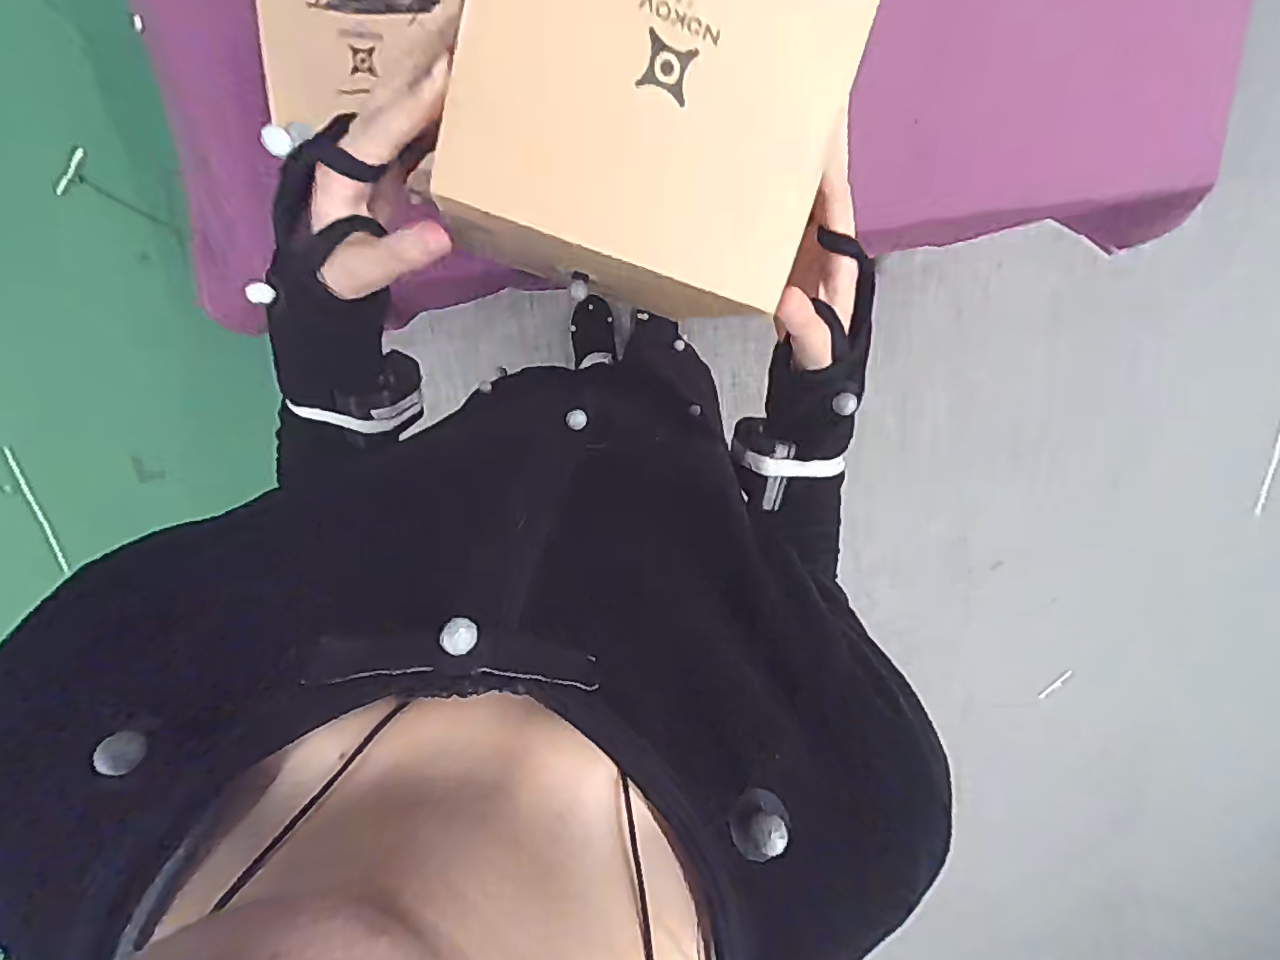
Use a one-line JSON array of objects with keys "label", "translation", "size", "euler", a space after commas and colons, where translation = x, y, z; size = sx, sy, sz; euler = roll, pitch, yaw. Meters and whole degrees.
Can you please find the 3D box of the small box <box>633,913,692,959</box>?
[{"label": "small box", "translation": [0.075, 1.503, 1.692], "size": [0.179, 0.176, 0.168], "euler": [-8, 105, 1]}]
